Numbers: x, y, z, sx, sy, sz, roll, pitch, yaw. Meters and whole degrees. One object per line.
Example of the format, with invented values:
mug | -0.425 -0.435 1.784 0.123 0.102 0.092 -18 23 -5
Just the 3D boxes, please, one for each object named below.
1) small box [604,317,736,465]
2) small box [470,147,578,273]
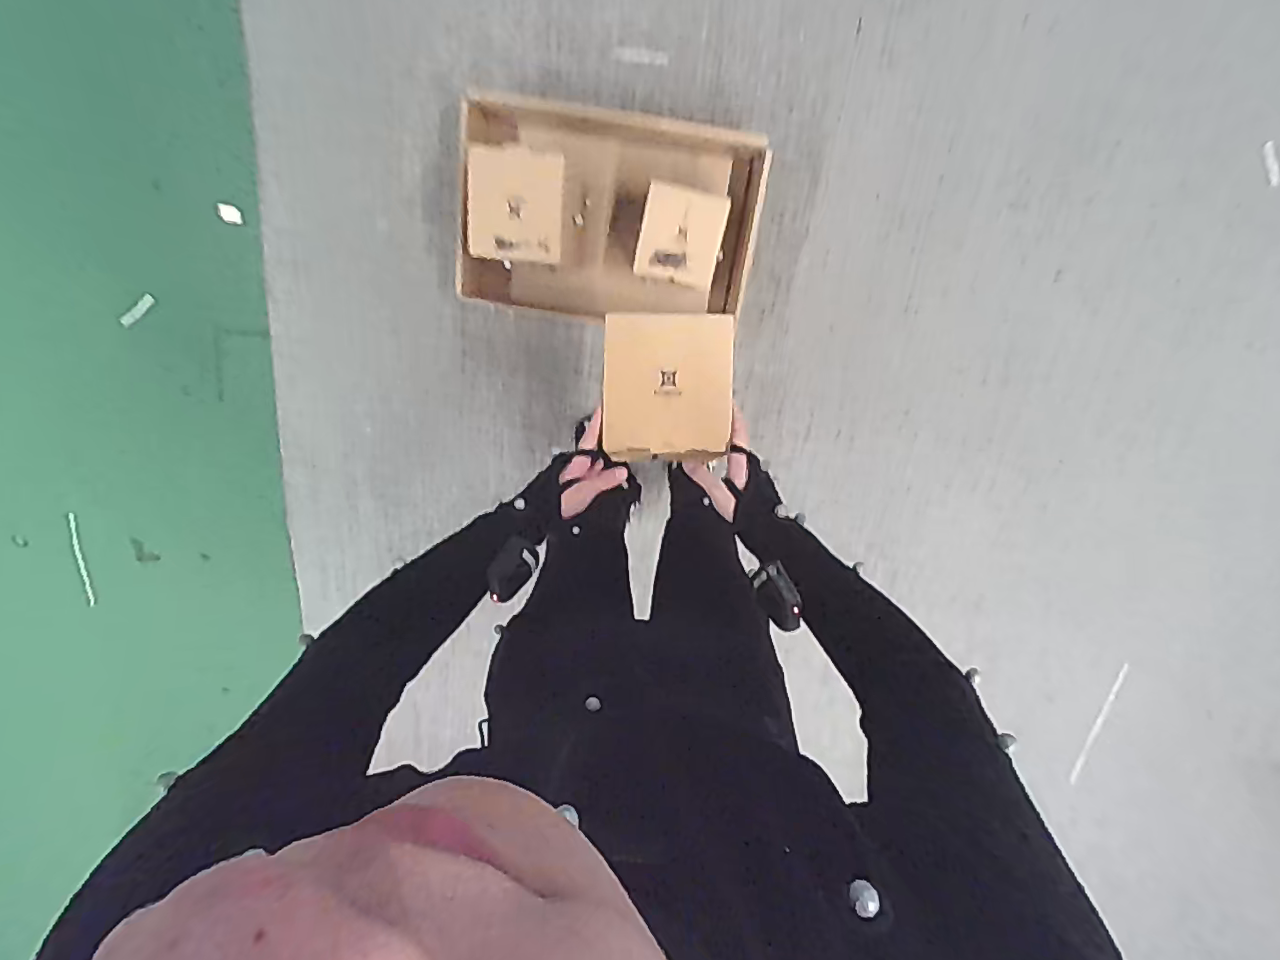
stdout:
small box | 0.036 -0.114 0.753 0.168 0.176 0.179 0 90 0
small box | -0.211 -0.493 1.012 0.168 0.176 0.179 6 108 -1
